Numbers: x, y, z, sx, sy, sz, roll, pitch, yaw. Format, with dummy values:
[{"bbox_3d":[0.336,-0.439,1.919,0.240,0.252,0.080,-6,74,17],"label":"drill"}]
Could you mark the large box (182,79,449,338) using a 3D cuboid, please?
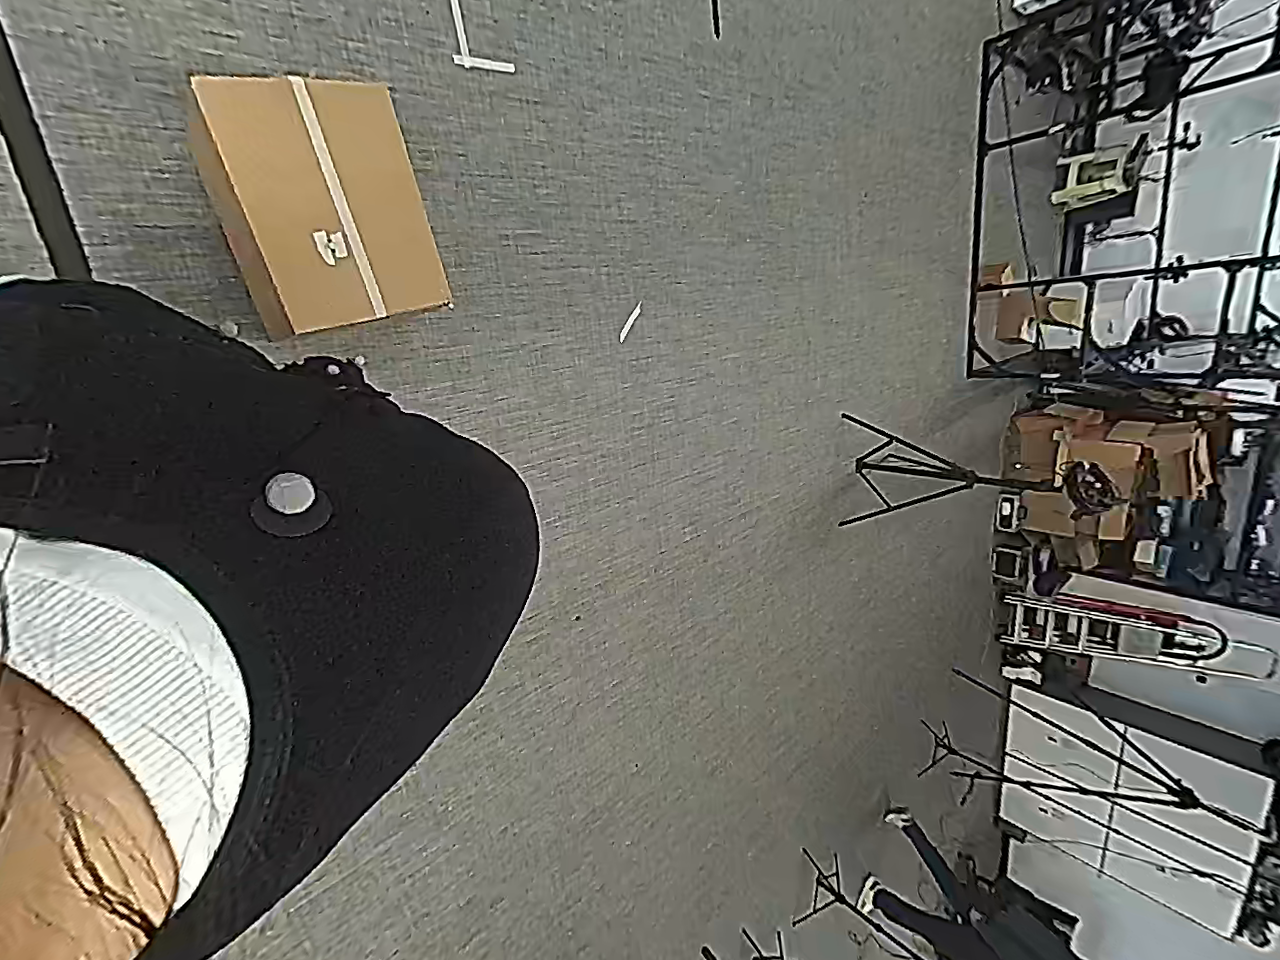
[{"bbox_3d":[-0.657,-0.531,1.111,0.320,0.320,0.408,-27,116,-34],"label":"large box"}]
